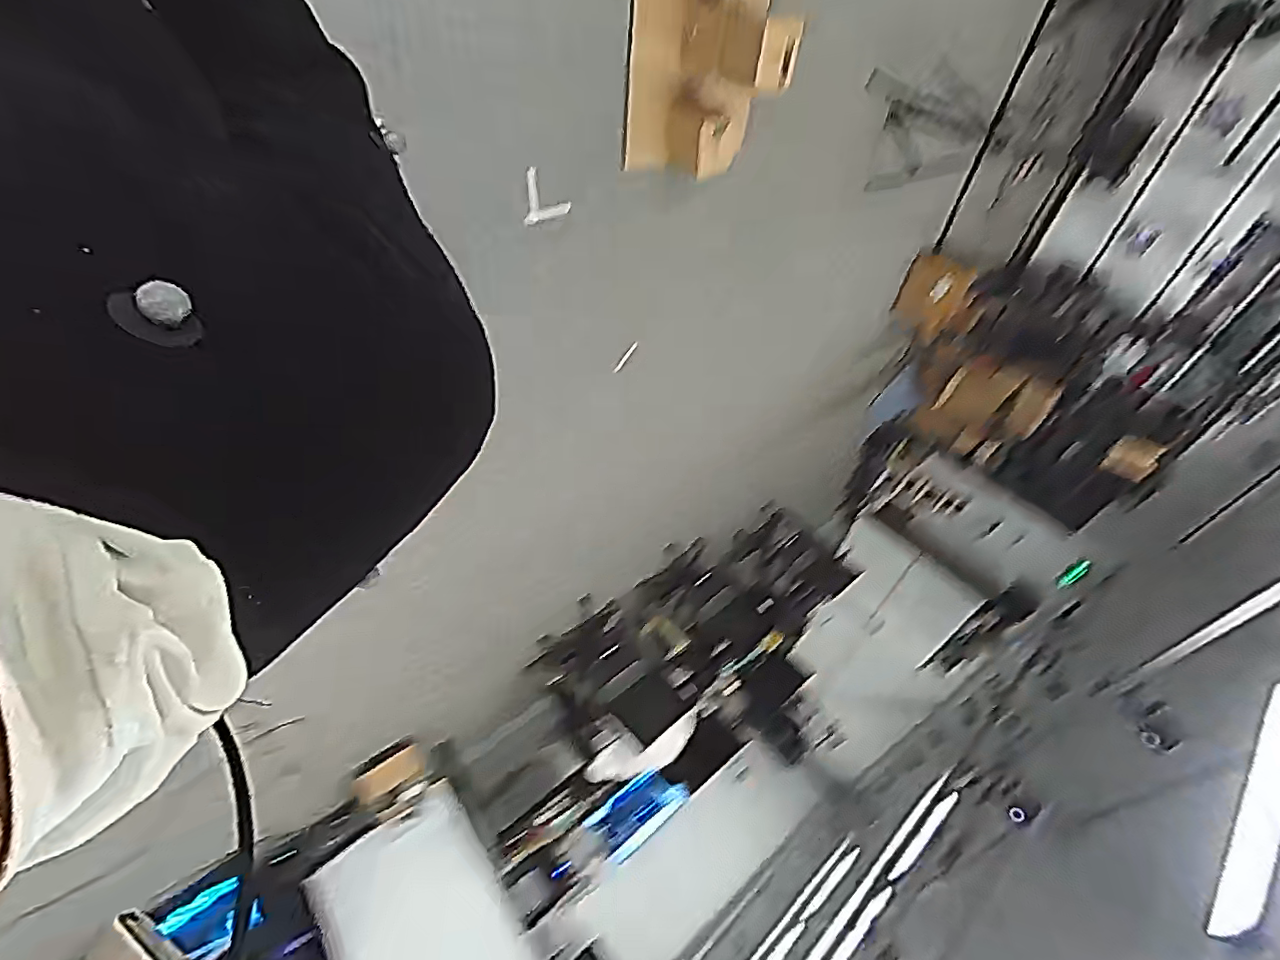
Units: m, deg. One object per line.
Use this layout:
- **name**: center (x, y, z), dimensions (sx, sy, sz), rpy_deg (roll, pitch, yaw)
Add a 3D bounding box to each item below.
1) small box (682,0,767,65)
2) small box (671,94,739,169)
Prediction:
- **small box**: center (0.261, -1.426, 1.699), dimensions (0.179, 0.176, 0.168), rpy_deg (-27, 144, -32)
- **small box**: center (0.222, -1.220, 1.883), dimensions (0.168, 0.176, 0.179), rpy_deg (-34, 147, -22)
